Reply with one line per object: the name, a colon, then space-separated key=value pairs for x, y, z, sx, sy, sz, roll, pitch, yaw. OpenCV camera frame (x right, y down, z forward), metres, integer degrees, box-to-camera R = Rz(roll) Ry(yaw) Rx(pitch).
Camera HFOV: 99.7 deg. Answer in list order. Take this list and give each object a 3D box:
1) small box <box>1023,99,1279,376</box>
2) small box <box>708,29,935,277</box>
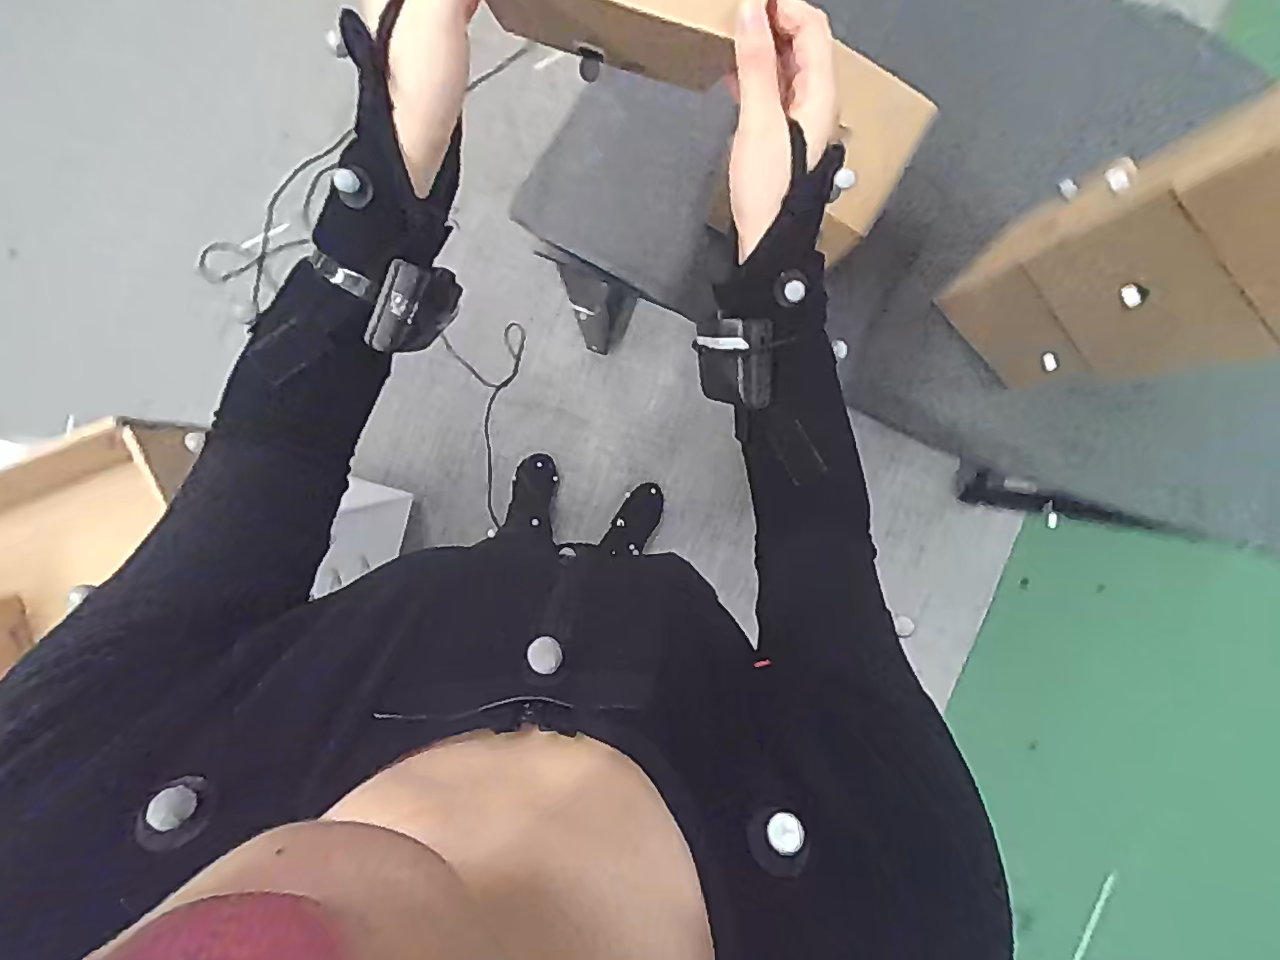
small box: x=0.530 y=-0.215 z=0.516 sx=0.168 sy=0.176 sz=0.179 roll=-37 pitch=93 yaw=-1
small box: x=0.206 y=-0.376 z=0.665 sx=0.179 sy=0.176 sz=0.168 roll=30 pitch=90 yaw=-2
